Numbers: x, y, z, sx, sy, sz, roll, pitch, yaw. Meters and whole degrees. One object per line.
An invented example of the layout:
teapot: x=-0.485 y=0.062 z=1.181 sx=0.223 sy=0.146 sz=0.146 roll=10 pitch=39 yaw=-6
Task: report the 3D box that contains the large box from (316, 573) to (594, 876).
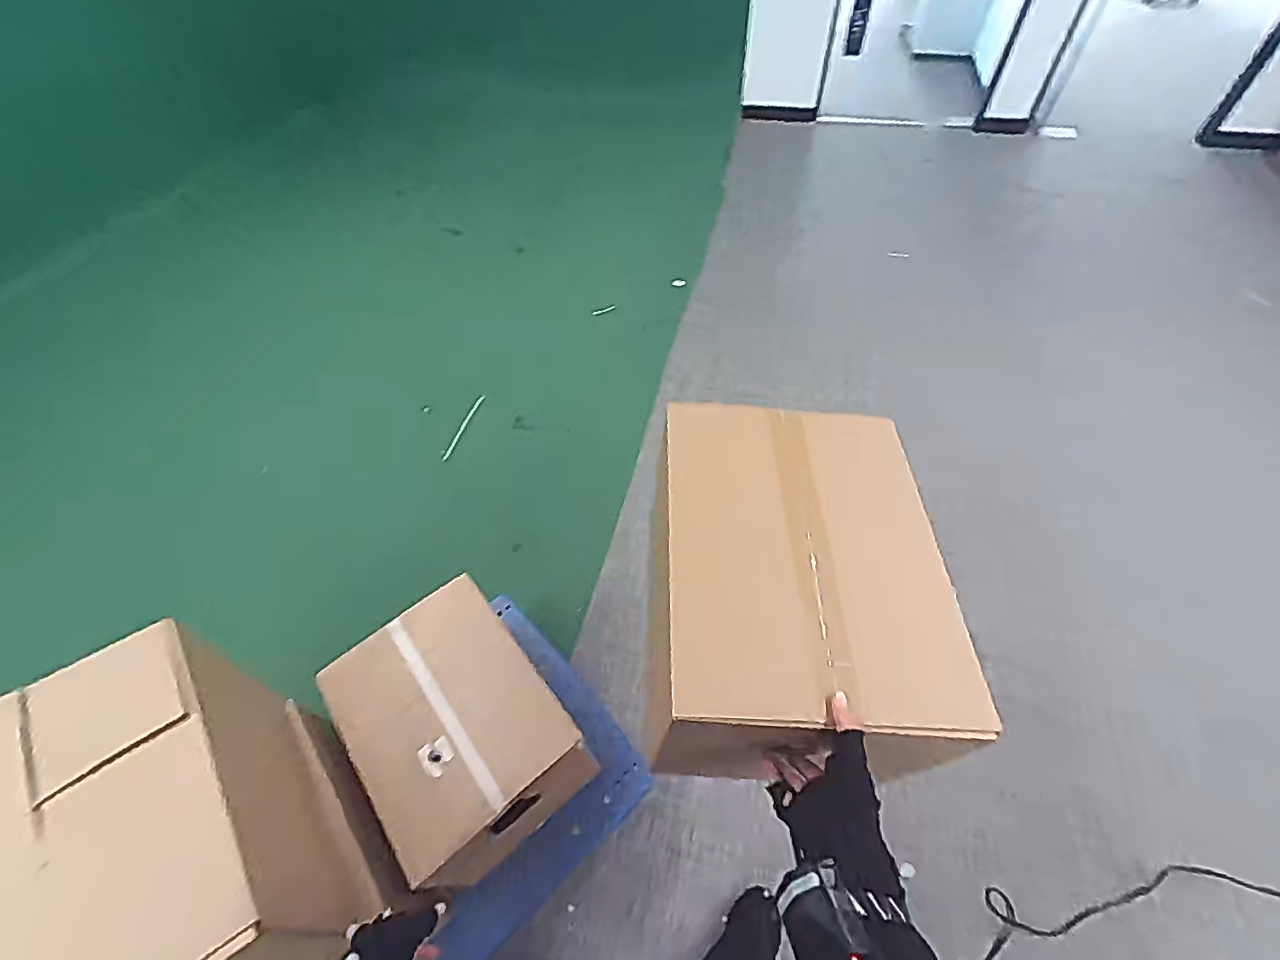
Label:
large box: x=-0.337 y=0.467 z=1.053 sx=0.320 sy=0.320 sz=0.408 roll=-35 pitch=61 yaw=-20
